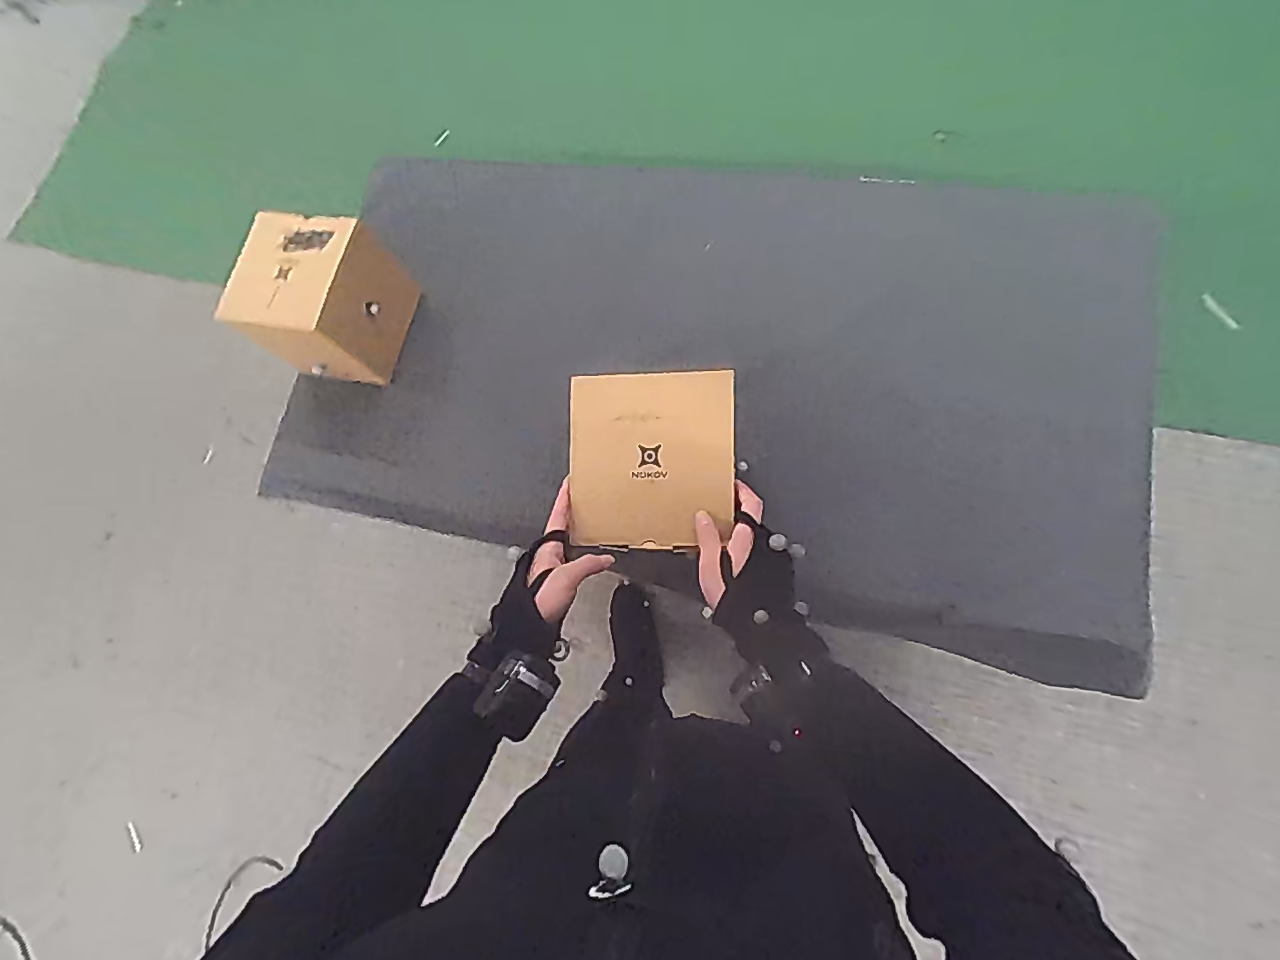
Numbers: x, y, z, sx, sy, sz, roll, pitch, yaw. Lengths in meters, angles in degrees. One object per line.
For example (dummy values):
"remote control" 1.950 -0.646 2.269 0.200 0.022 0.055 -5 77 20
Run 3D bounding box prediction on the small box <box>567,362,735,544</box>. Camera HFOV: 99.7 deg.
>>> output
"small box" 0.022 -0.021 0.603 0.168 0.176 0.179 -1 85 8

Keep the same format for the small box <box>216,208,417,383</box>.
"small box" -0.464 -0.269 0.808 0.168 0.176 0.179 10 76 12
